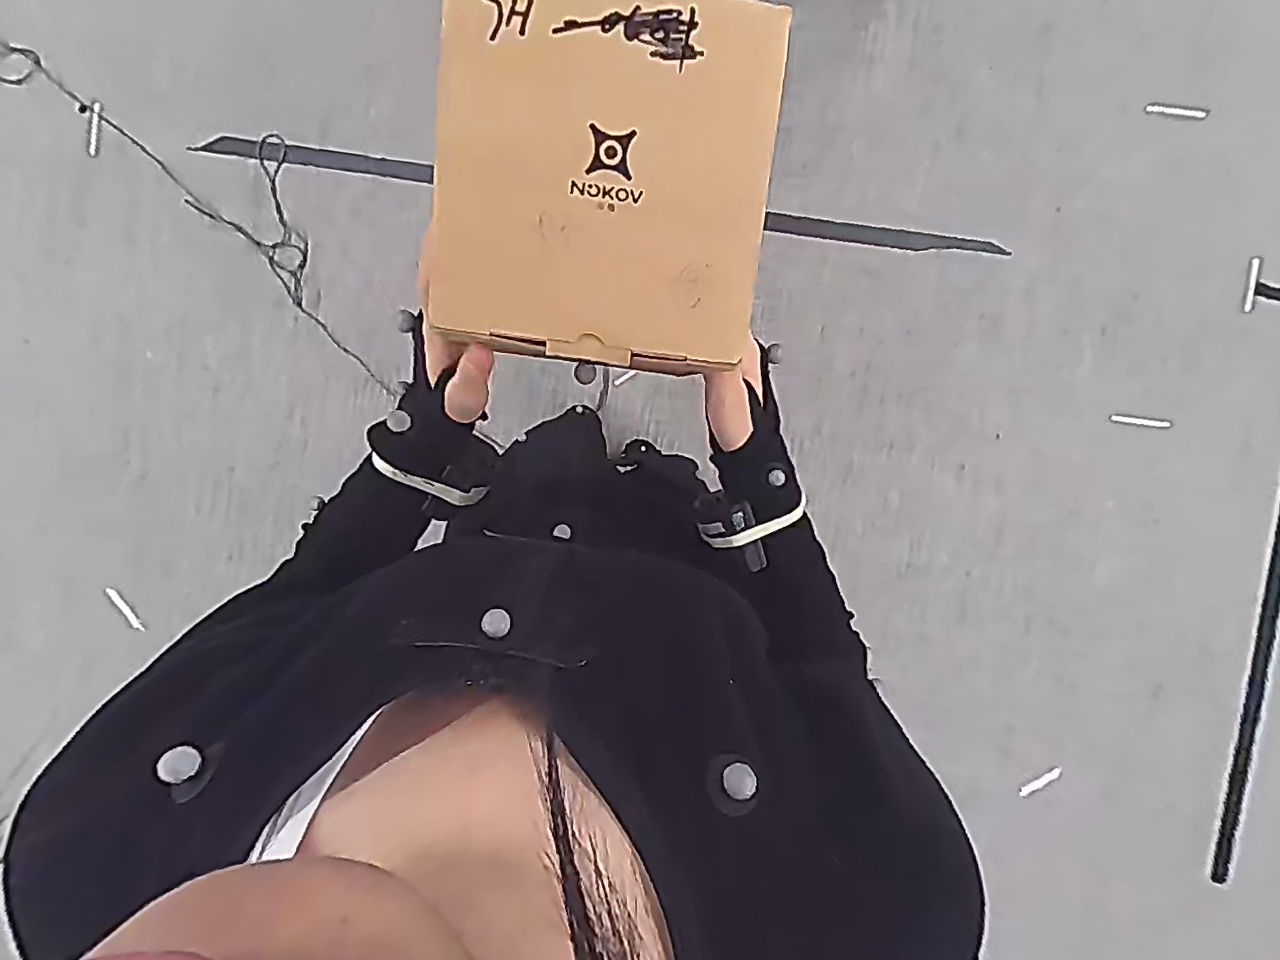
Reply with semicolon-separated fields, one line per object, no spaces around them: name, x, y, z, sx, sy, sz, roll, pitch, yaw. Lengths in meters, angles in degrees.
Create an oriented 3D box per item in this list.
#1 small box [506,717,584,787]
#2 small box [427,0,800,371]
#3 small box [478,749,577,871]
small box;-0.253;0.746;1.418;0.179;0.176;0.168;9;92;-1
small box;-0.022;-0.166;0.340;0.168;0.176;0.179;6;100;-7
small box;-0.253;0.754;1.253;0.179;0.176;0.168;10;93;-1
